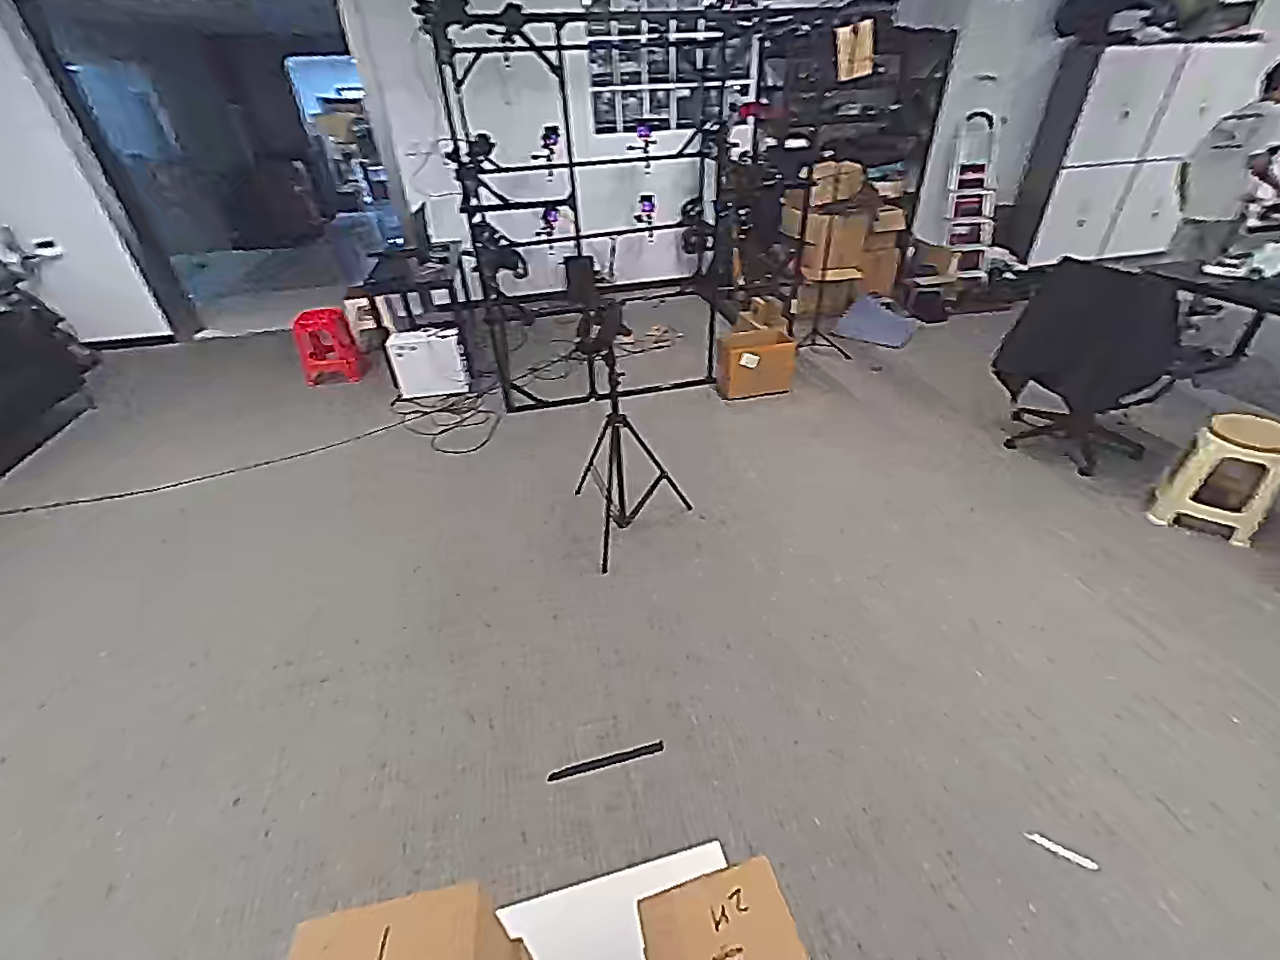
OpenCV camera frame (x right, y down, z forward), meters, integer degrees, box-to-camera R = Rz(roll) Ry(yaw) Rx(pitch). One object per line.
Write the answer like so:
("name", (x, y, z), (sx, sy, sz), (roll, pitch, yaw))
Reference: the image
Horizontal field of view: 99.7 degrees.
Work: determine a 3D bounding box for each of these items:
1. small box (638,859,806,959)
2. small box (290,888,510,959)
("small box", (0.103, 0.588, 0.621), (0.168, 0.176, 0.179), (-12, 36, -11))
("small box", (-0.211, 0.509, 0.477), (0.168, 0.176, 0.179), (-8, 35, -7))
